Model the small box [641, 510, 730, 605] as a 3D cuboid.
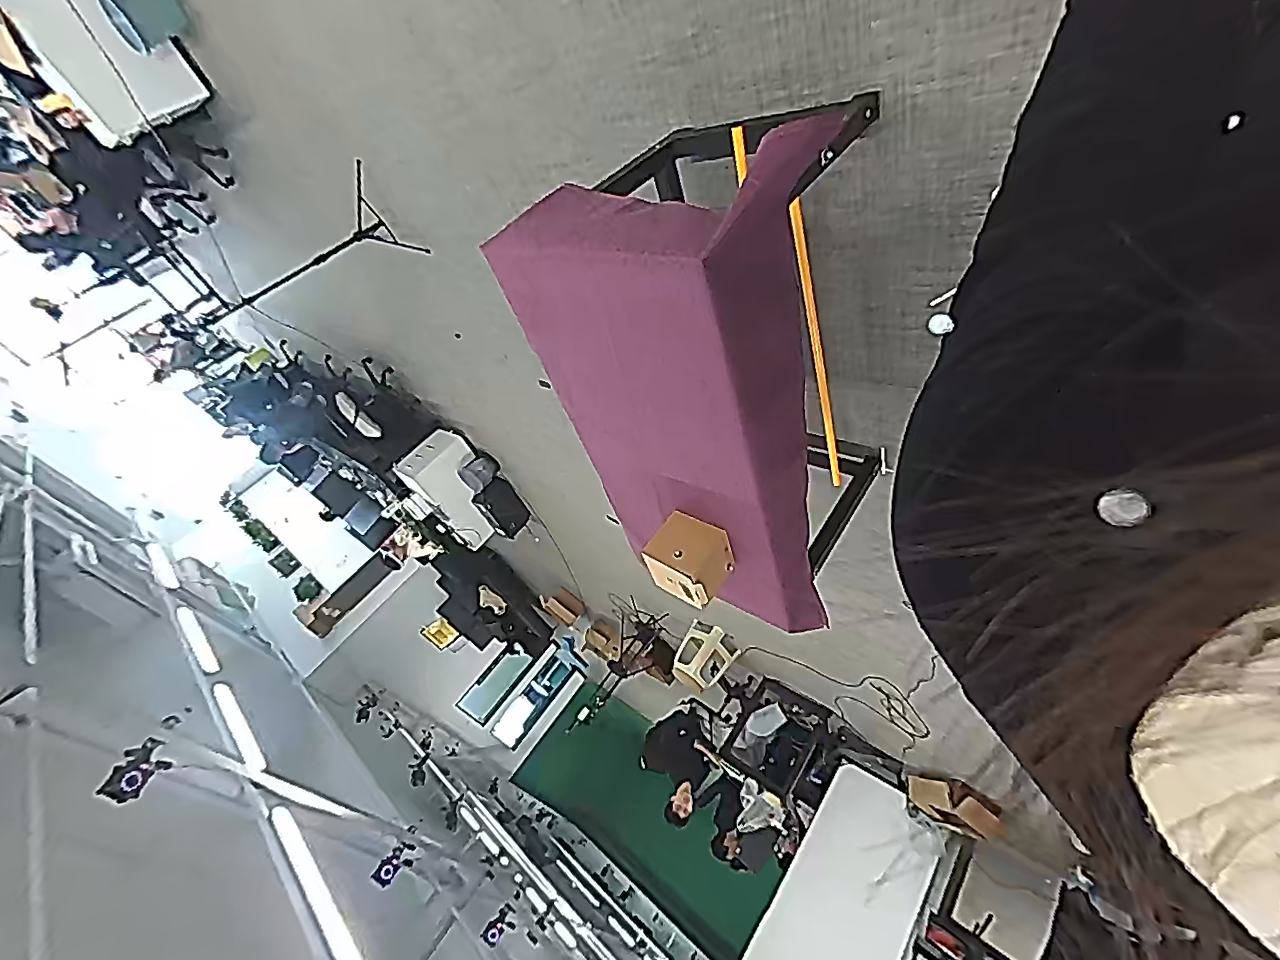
[{"bbox_3d":[0.135,0.210,1.505,0.179,0.176,0.168,22,149,36],"label":"small box"}]
